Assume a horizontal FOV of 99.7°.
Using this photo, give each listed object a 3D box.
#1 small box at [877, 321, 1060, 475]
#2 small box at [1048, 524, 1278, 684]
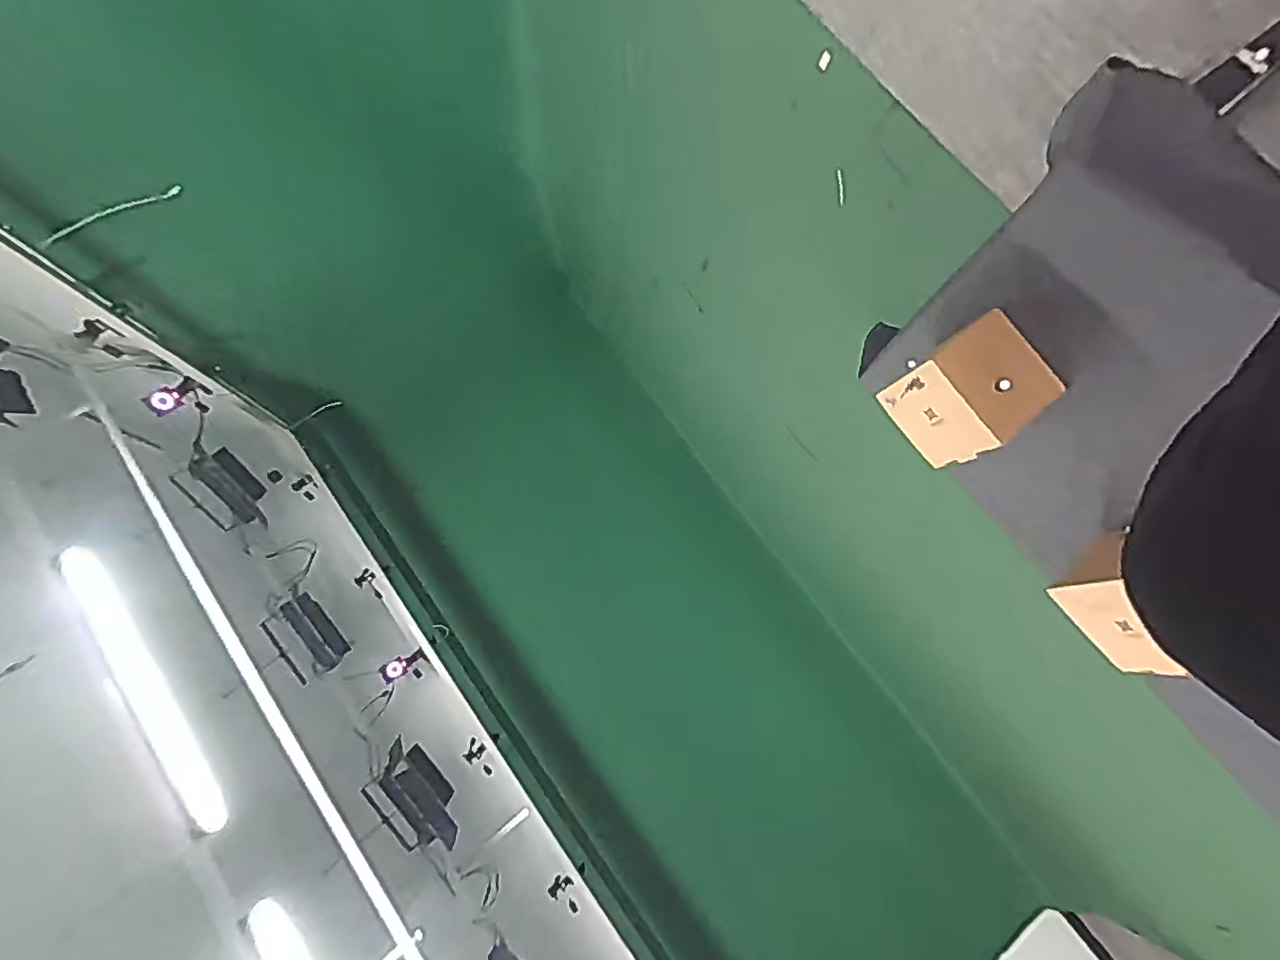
[{"bbox_3d":[0.567,-0.139,0.941,0.179,0.176,0.168,53,166,5],"label":"small box"},{"bbox_3d":[0.833,0.199,0.869,0.179,0.176,0.168,53,165,12],"label":"small box"}]
